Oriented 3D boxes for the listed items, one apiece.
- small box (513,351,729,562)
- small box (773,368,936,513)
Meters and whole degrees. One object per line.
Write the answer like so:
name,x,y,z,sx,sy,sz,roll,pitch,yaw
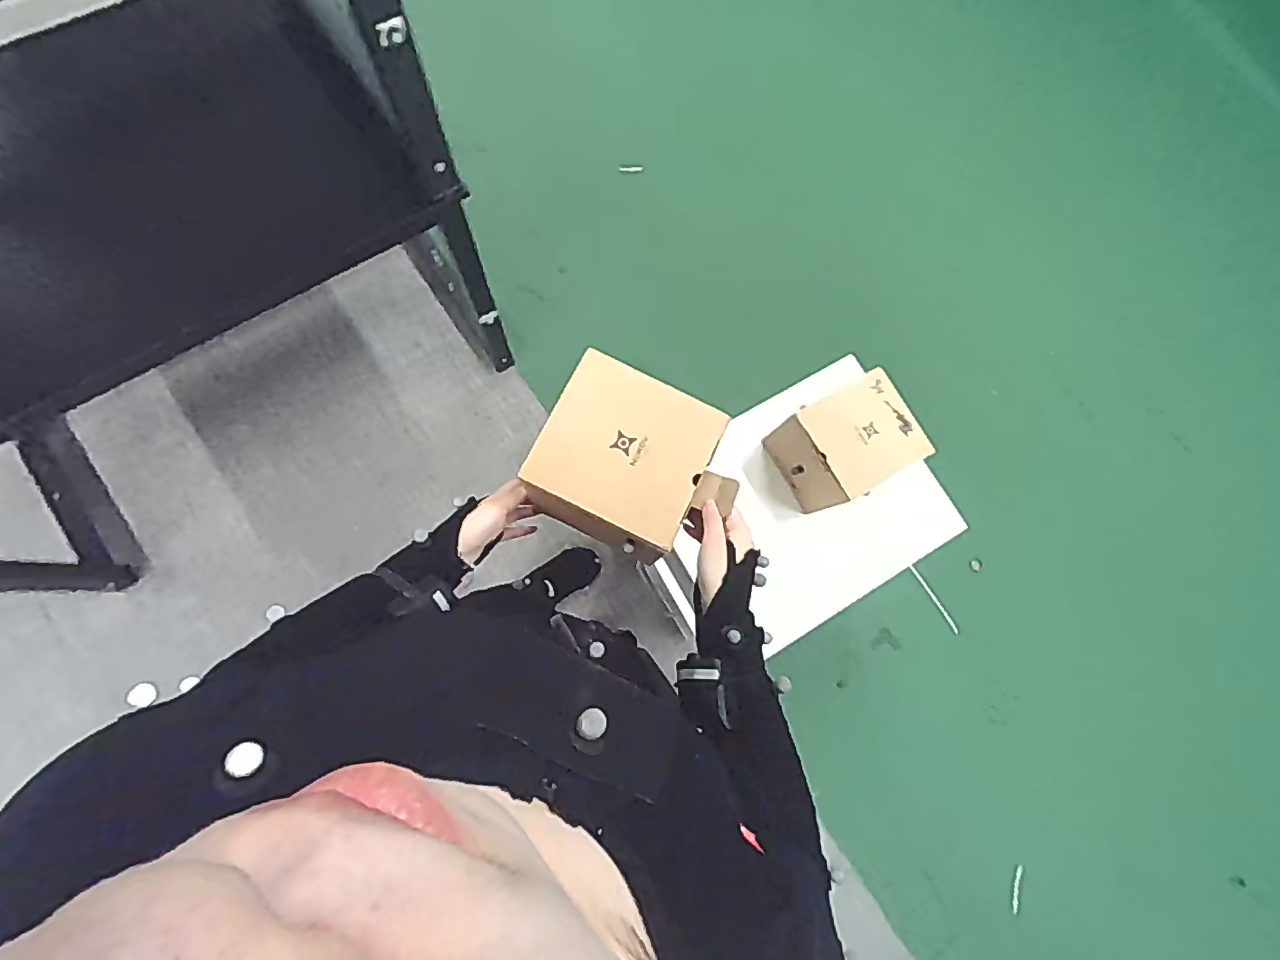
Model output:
small box,-0.024,-0.014,0.631,0.179,0.176,0.168,26,75,0
small box,0.347,-0.058,0.924,0.179,0.176,0.168,-28,83,-10
